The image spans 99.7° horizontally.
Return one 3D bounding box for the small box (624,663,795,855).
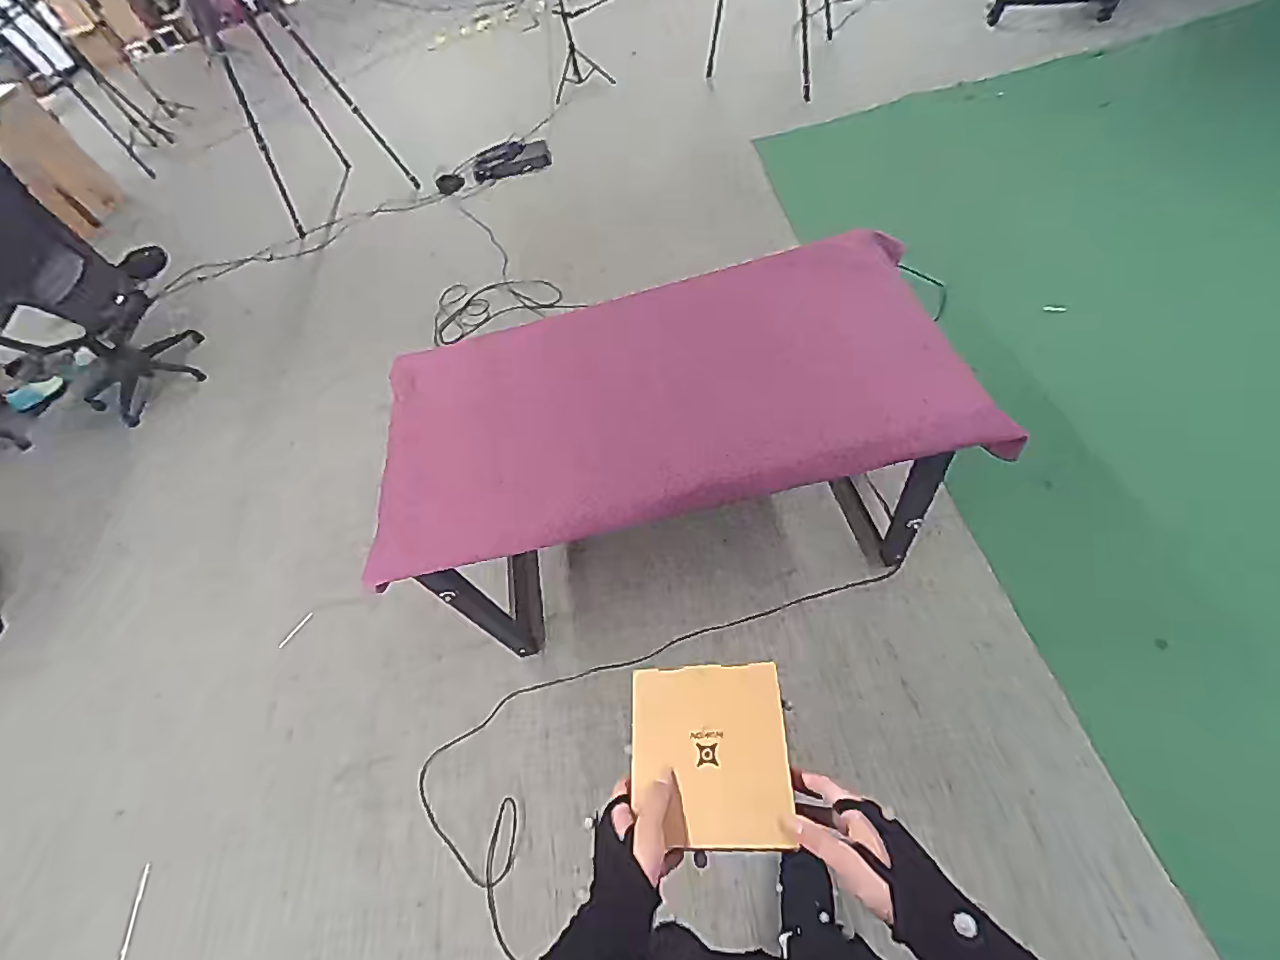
[{"bbox_3d":[0.083,0.327,0.625,0.168,0.176,0.179,-8,53,11],"label":"small box"}]
